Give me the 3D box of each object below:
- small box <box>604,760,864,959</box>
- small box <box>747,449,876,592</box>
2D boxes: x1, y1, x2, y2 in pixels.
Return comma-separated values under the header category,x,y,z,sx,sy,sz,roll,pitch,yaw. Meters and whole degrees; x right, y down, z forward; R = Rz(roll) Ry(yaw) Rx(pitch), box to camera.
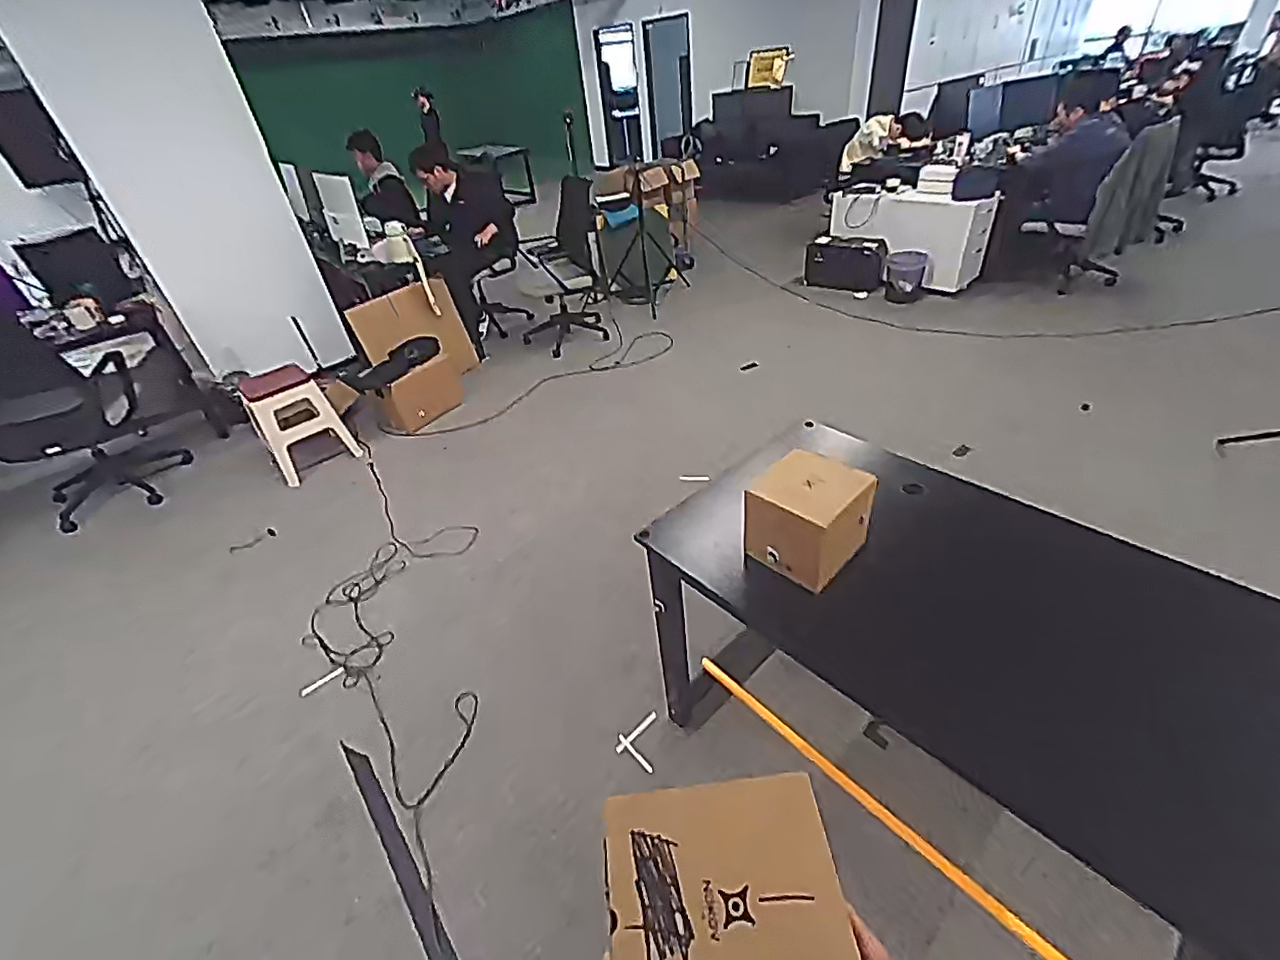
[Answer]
category,x,y,z,sx,sy,sz,roll,pitch,yaw
small box,0.070,0.362,0.459,0.179,0.176,0.168,-7,45,-1
small box,0.314,0.074,1.018,0.179,0.176,0.168,-35,44,-31
